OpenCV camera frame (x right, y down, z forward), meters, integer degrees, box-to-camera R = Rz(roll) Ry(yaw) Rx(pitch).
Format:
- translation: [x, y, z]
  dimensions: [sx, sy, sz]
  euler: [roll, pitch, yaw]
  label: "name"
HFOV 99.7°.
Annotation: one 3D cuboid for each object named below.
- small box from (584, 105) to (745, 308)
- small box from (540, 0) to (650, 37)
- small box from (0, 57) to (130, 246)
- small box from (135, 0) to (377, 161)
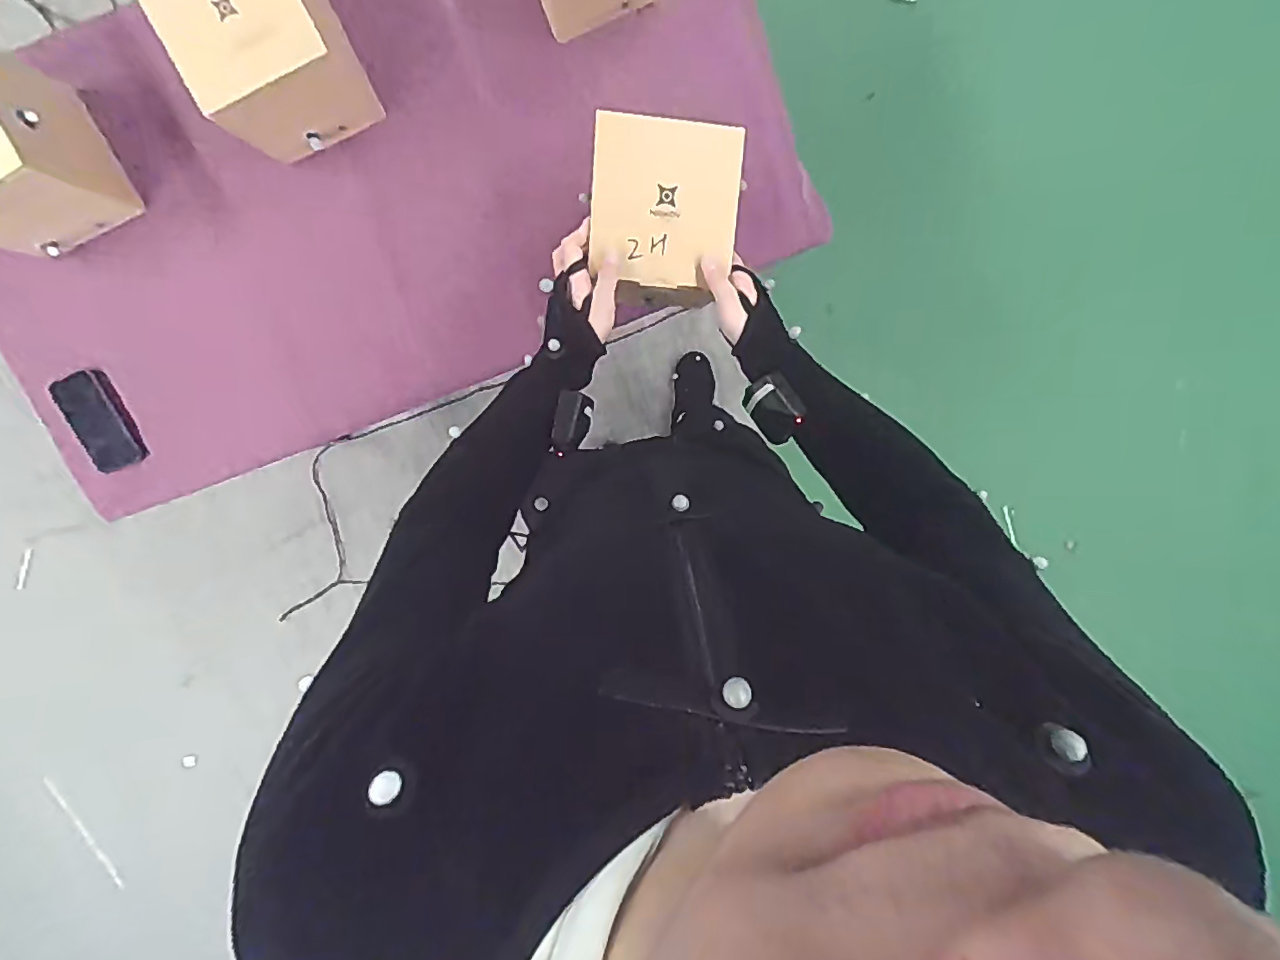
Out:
- translation: [0.019, -0.321, 0.671]
  dimensions: [0.168, 0.176, 0.179]
  euler: [5, 101, -5]
  label: "small box"
- translation: [-0.074, -0.711, 0.662]
  dimensions: [0.168, 0.176, 0.179]
  euler: [-23, 100, 2]
  label: "small box"
- translation: [-0.817, -0.416, 0.677]
  dimensions: [0.168, 0.176, 0.179]
  euler: [-25, 100, 1]
  label: "small box"
- translation: [-0.470, -0.544, 0.674]
  dimensions: [0.168, 0.176, 0.179]
  euler: [-24, 101, 2]
  label: "small box"
